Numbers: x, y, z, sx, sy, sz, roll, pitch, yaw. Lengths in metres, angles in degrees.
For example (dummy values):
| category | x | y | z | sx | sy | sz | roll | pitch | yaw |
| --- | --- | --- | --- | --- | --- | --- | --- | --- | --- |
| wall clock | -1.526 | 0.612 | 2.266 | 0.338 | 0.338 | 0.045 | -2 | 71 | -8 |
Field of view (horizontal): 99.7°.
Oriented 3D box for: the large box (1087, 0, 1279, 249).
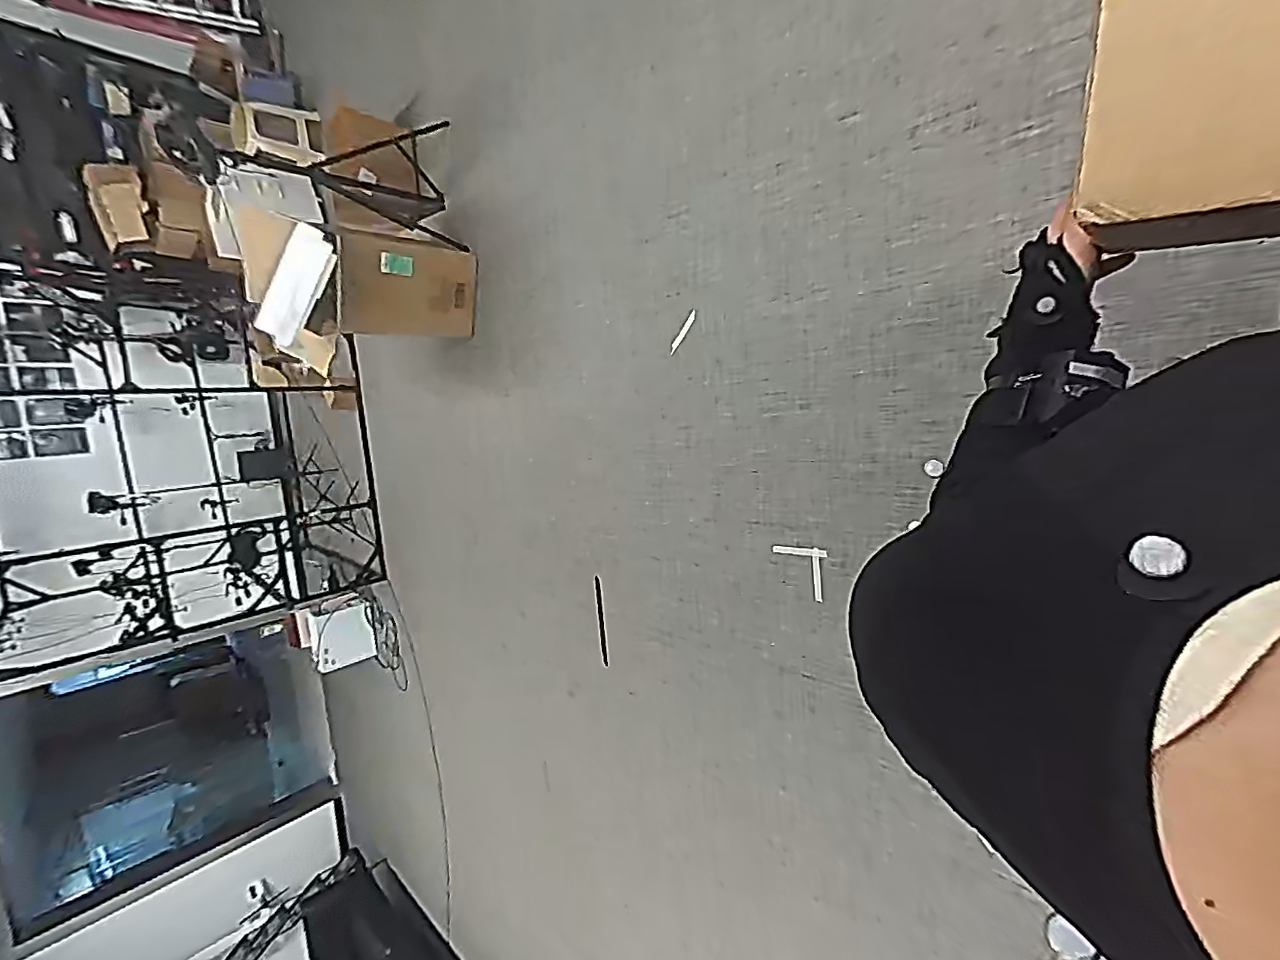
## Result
| category | x | y | z | sx | sy | sz | roll | pitch | yaw |
| --- | --- | --- | --- | --- | --- | --- | --- | --- | --- |
| large box | 0.442 | -0.290 | 0.201 | 0.408 | 0.320 | 0.320 | 8 | 111 | 39 |
